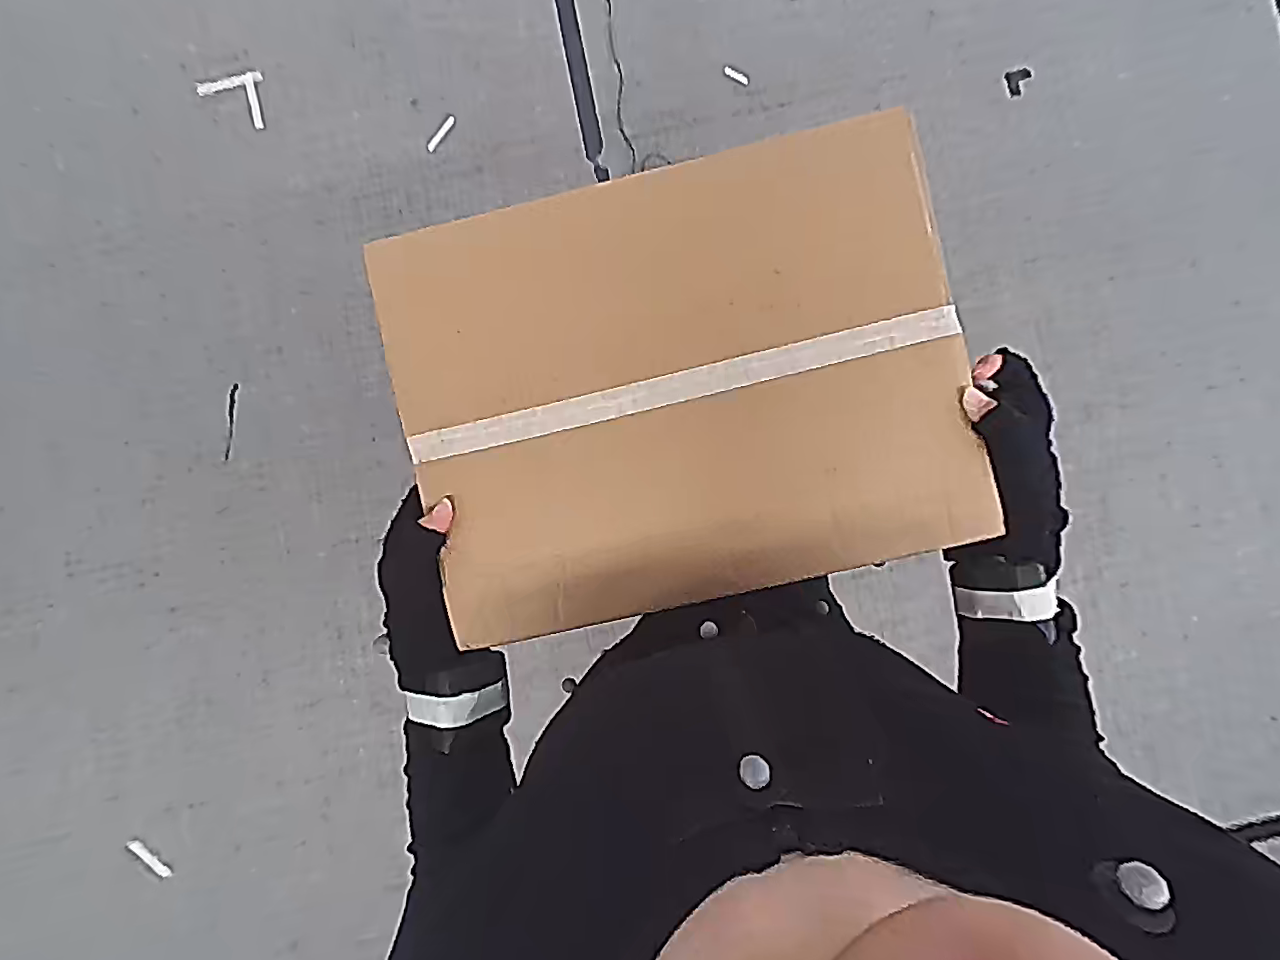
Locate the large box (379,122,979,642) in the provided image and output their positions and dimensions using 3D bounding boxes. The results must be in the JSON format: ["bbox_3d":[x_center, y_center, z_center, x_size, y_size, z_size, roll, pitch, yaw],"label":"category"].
[{"bbox_3d":[0.033,-0.073,0.554,0.408,0.320,0.320,-13,90,3],"label":"large box"}]
